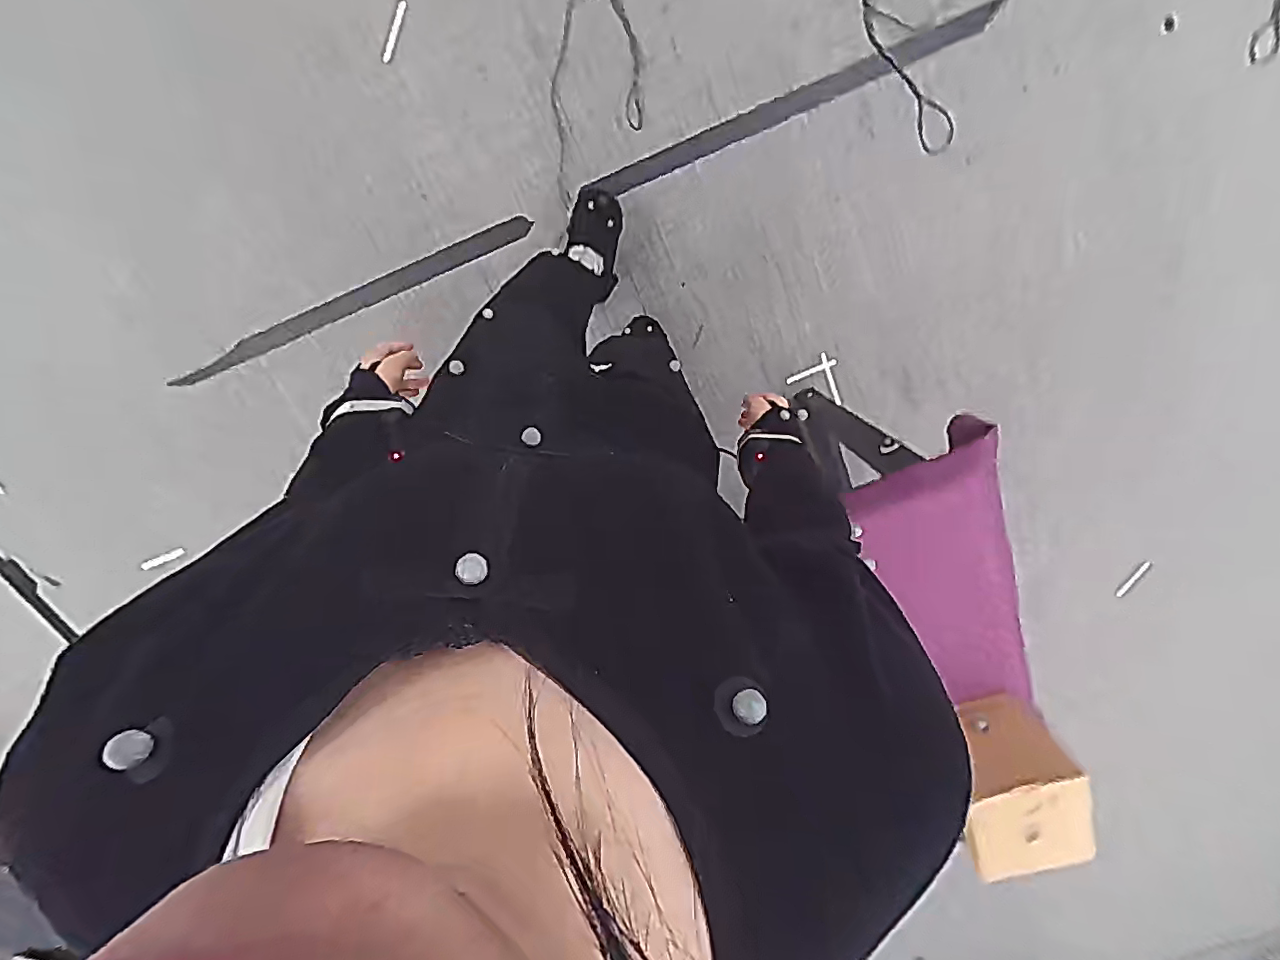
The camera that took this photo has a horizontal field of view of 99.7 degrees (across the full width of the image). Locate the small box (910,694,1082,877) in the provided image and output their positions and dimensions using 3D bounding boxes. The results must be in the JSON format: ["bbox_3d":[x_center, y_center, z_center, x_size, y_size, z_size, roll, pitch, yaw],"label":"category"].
[{"bbox_3d":[0.564,0.483,0.871,0.168,0.176,0.179,-17,108,5],"label":"small box"}]
